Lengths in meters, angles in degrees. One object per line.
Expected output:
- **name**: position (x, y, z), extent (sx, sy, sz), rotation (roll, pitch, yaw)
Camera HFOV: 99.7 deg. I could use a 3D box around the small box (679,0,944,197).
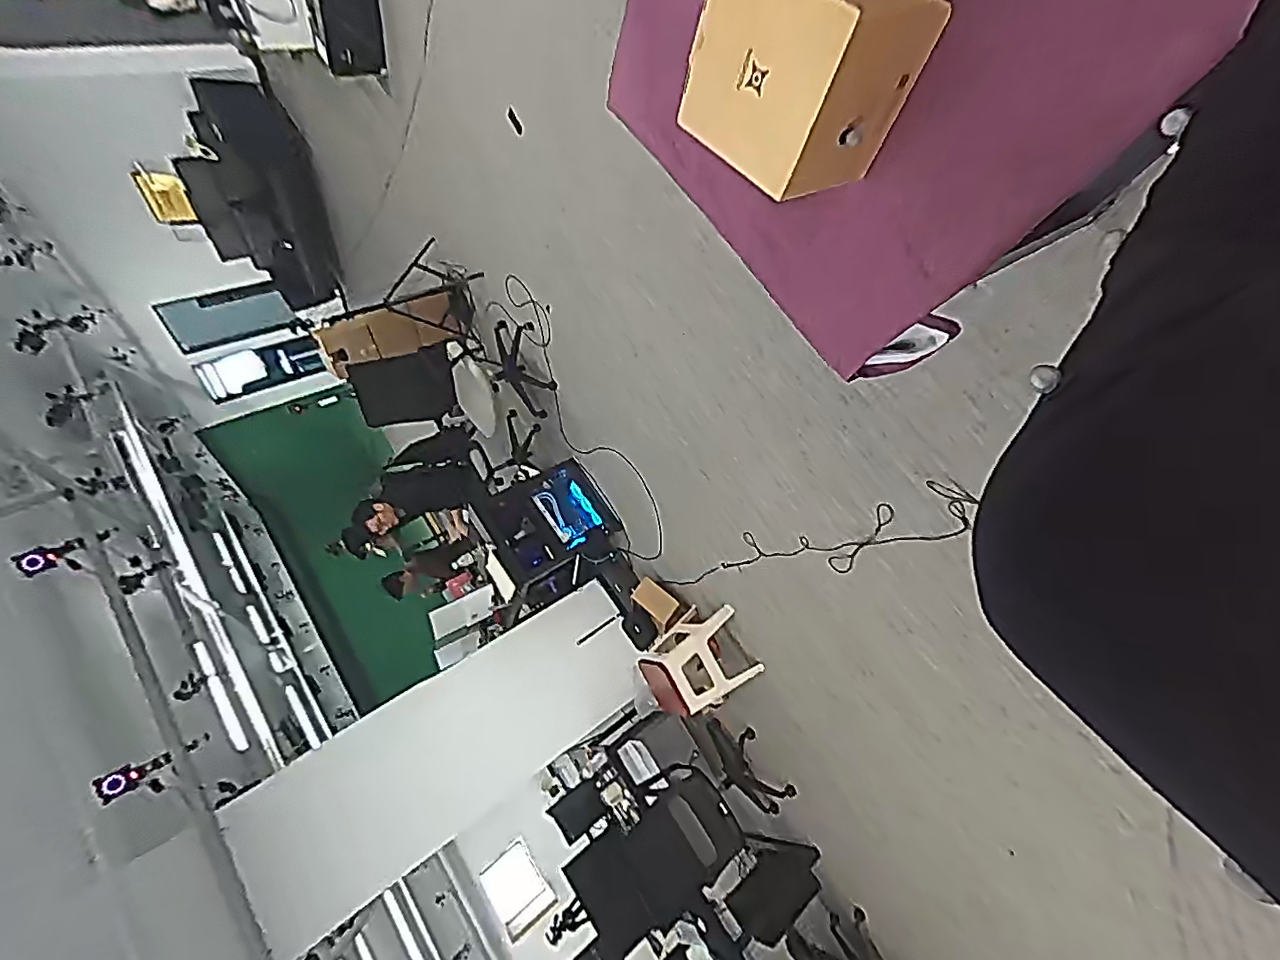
- **small box**: position (0.174, -0.439, 0.574), extent (0.179, 0.176, 0.168), rotation (50, 150, 21)
